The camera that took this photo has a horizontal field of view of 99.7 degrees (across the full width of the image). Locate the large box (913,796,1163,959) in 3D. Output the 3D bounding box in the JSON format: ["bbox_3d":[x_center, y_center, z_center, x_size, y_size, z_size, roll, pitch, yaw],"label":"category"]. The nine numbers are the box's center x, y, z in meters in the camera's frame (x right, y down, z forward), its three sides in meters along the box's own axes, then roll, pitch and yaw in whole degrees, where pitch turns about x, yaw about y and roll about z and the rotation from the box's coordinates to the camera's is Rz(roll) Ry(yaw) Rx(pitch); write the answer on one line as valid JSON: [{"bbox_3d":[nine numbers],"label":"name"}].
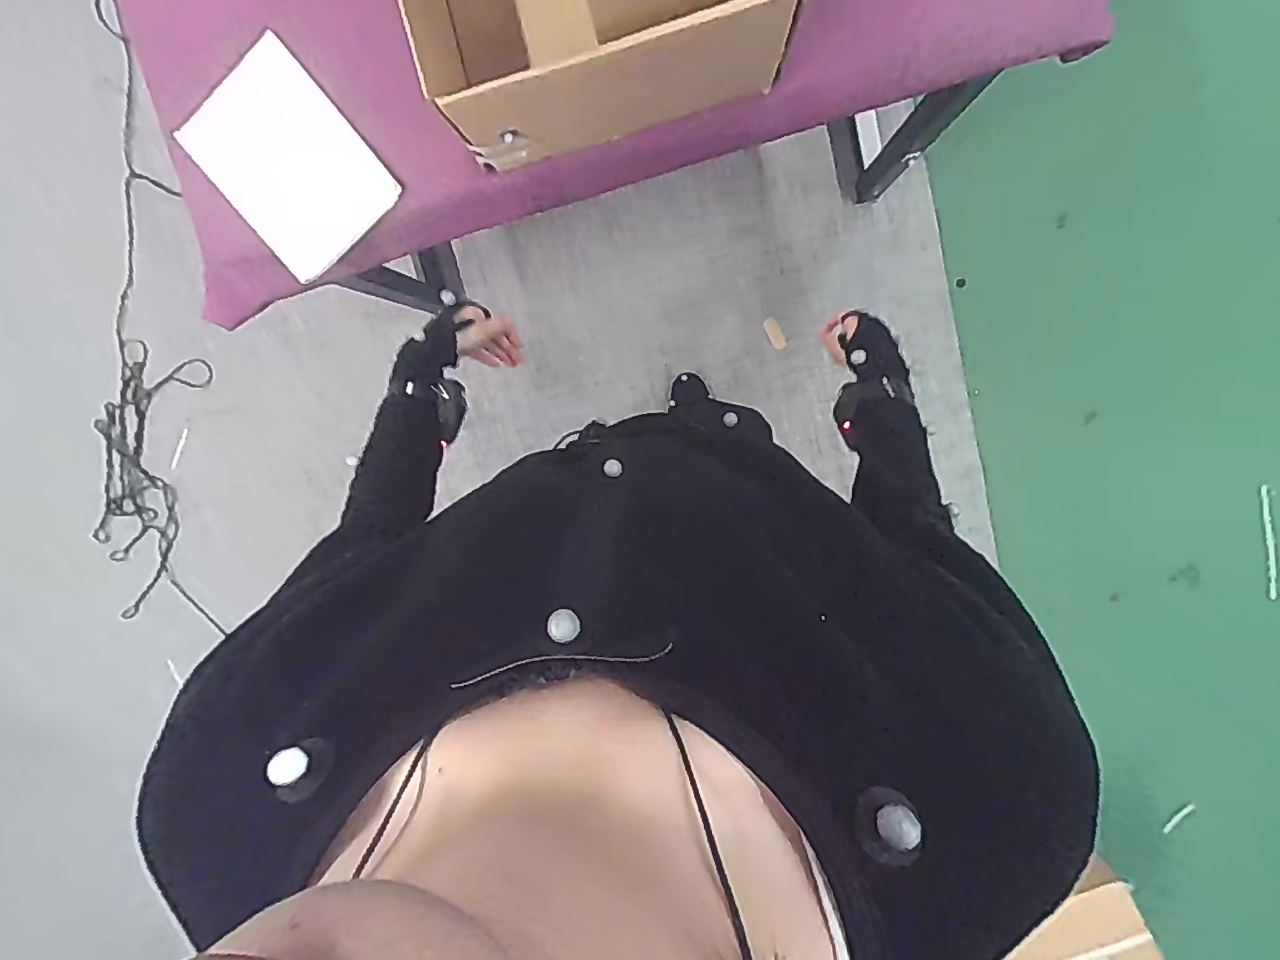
[{"bbox_3d":[1.035,1.144,1.438,0.408,0.320,0.320,-28,96,7],"label":"large box"}]
